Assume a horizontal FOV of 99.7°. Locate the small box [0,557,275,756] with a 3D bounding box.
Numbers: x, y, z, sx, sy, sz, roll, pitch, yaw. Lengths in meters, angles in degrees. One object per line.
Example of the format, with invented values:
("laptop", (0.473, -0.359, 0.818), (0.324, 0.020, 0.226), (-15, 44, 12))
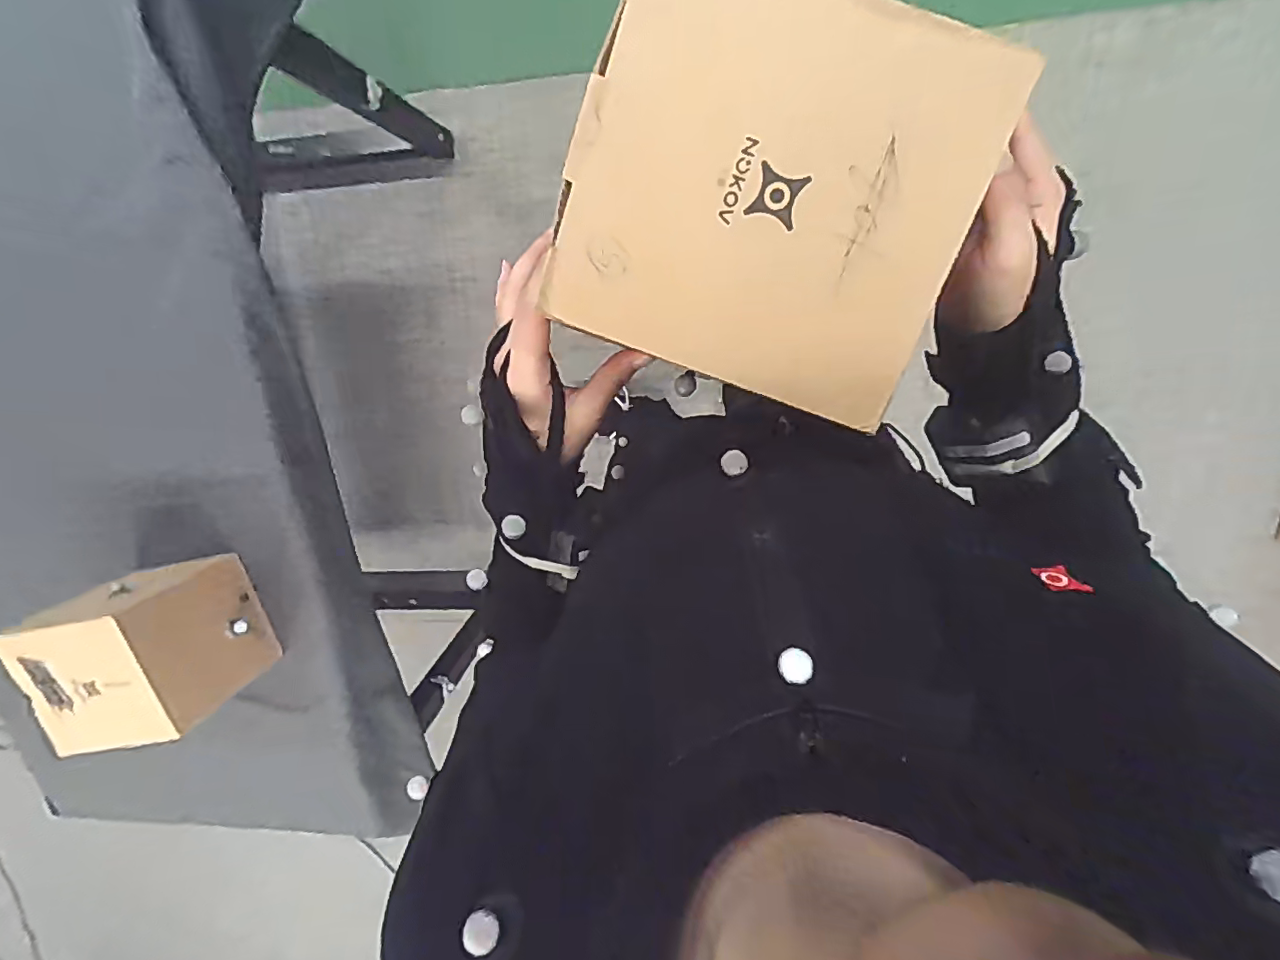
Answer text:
("small box", (-0.622, 0.214, 0.686), (0.179, 0.176, 0.168), (-11, 105, 9))
